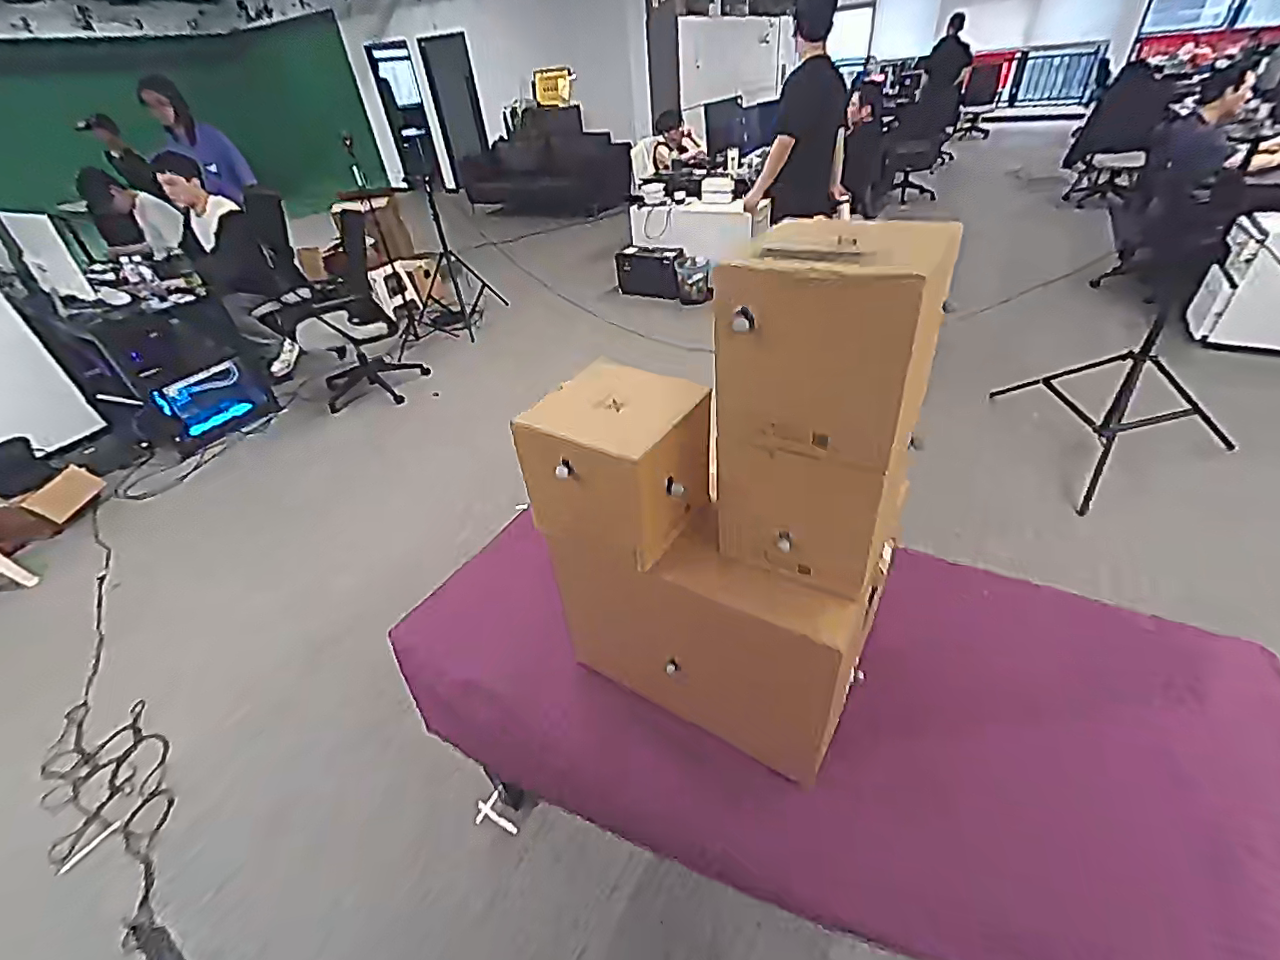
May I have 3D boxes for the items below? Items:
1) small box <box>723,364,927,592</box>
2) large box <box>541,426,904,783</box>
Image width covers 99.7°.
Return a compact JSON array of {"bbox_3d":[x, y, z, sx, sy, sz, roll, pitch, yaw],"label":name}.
[{"bbox_3d":[0.202,-0.009,0.608,0.168,0.176,0.179,16,42,29],"label":"small box"},{"bbox_3d":[0.130,0.157,0.809,0.408,0.320,0.320,16,41,28],"label":"large box"}]
